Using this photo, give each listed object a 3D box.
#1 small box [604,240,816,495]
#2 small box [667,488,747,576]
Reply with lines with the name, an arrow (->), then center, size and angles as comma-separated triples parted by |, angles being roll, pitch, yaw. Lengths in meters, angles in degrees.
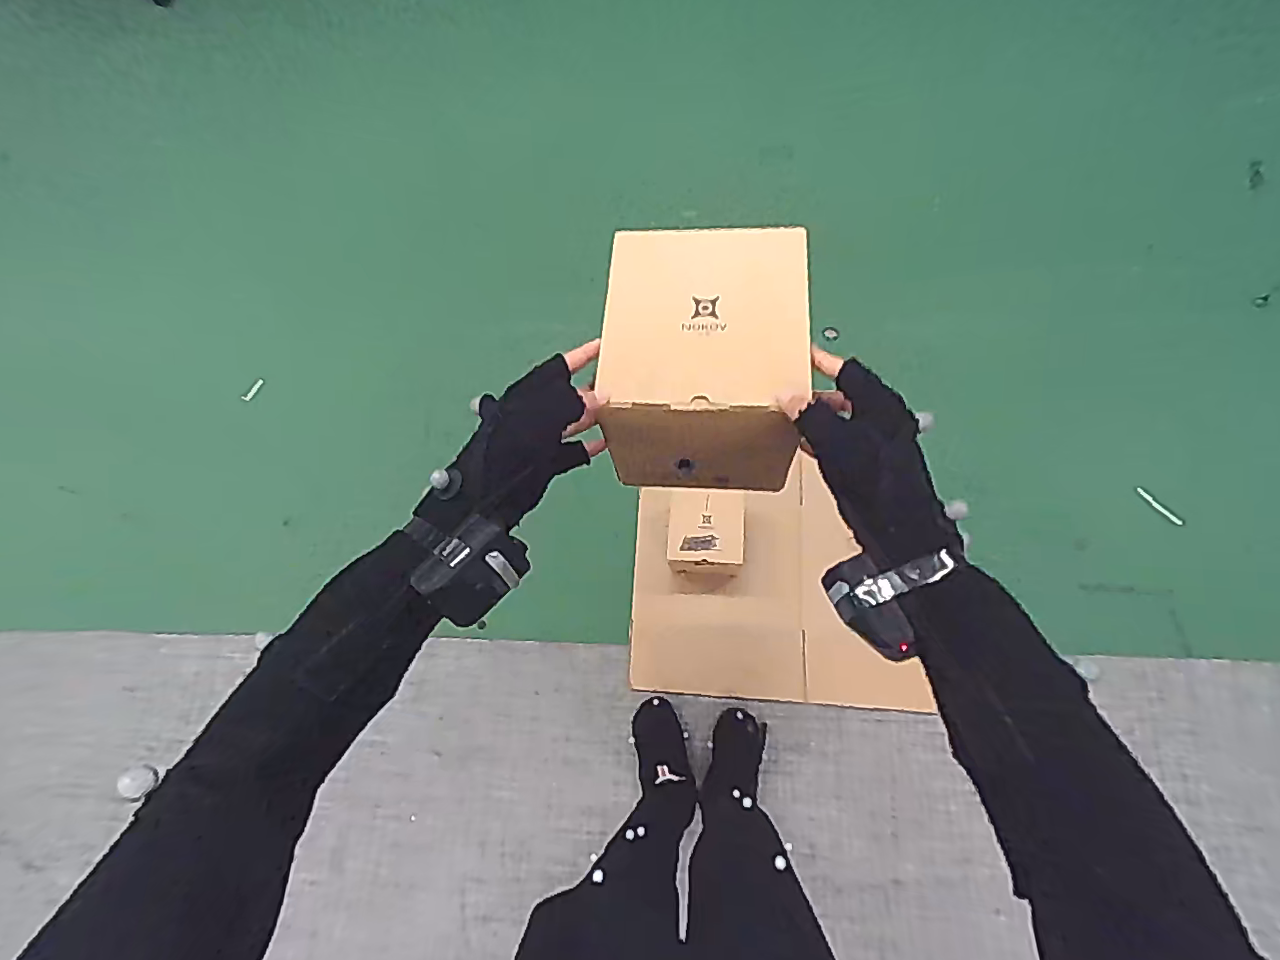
small box -> 0.066, -0.101, 0.520 | 0.168, 0.176, 0.179 | 3, 68, 7
small box -> 0.157, 0.123, 1.250 | 0.168, 0.176, 0.179 | 3, 72, 8
